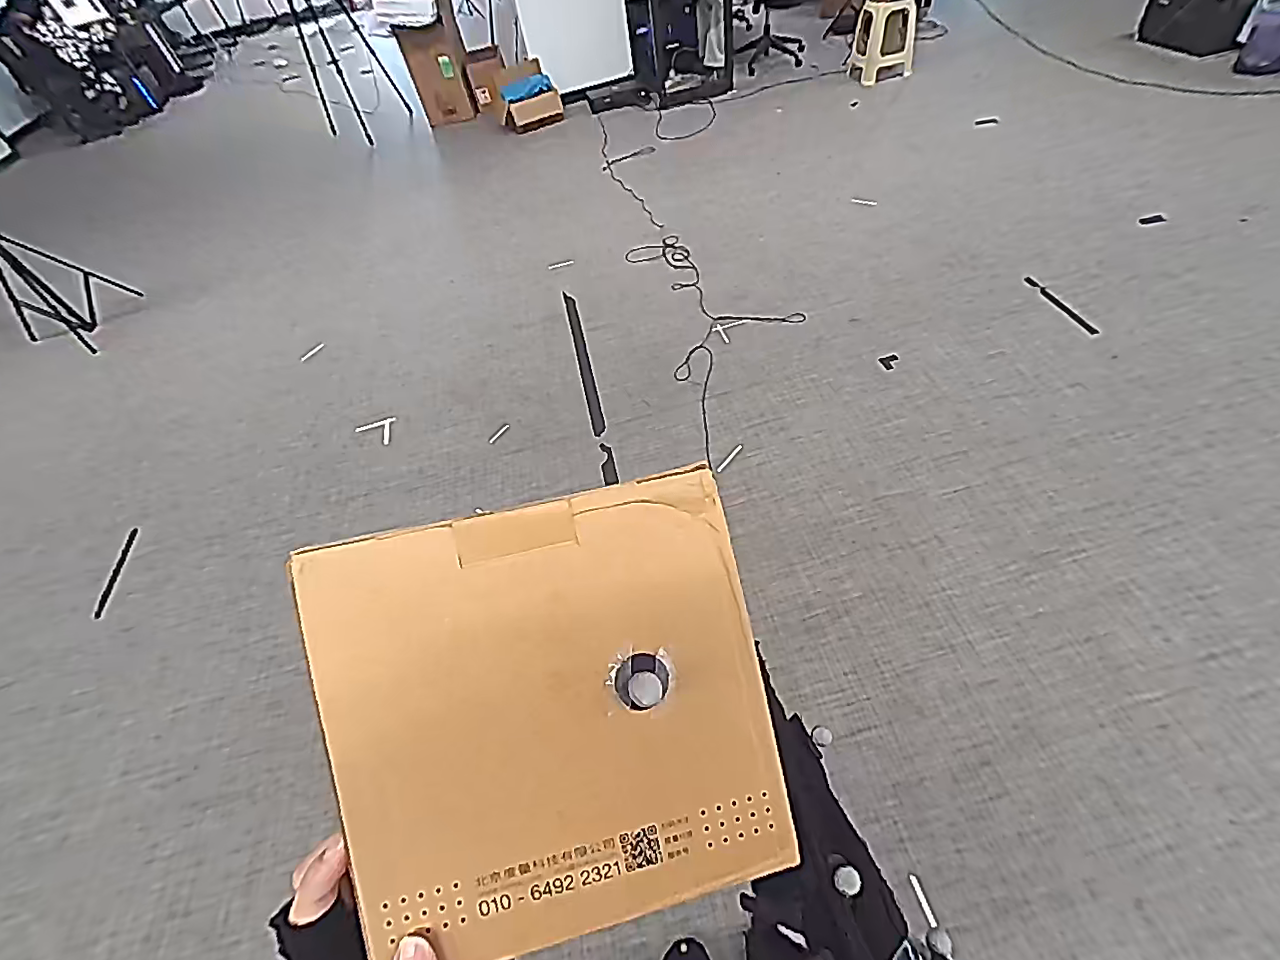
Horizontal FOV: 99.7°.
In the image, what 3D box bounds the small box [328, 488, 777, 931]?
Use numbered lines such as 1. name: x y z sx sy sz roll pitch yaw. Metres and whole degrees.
1. small box: -0.039 0.105 0.308 0.168 0.179 0.176 -12 89 -7
